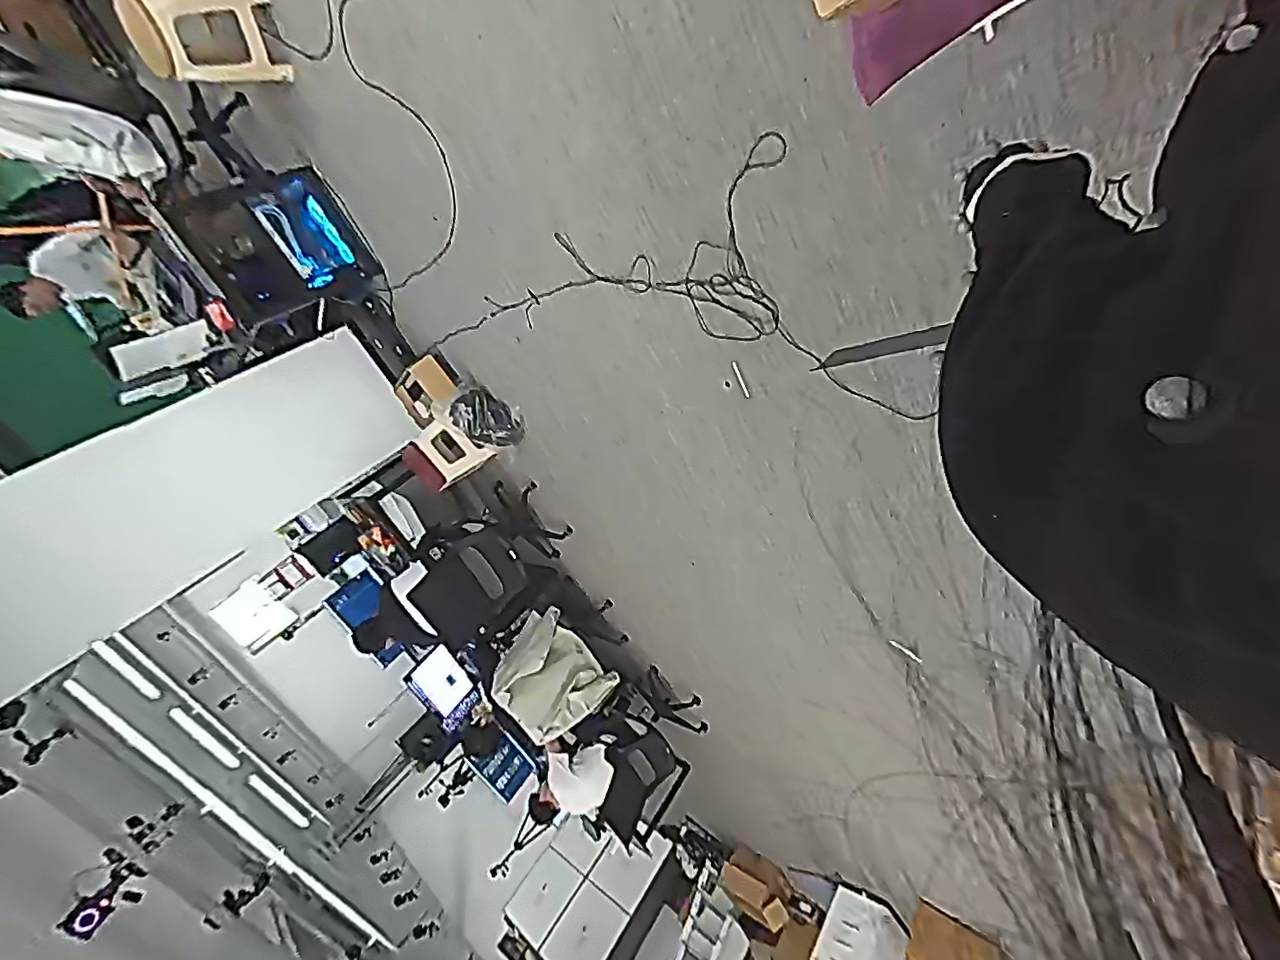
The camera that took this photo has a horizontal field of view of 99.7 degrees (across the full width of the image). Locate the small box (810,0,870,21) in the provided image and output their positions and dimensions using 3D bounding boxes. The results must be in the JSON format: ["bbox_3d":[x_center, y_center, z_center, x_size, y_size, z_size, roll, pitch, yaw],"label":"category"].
[{"bbox_3d":[0.215,-0.511,0.416,0.168,0.176,0.179,-3,124,47],"label":"small box"}]
